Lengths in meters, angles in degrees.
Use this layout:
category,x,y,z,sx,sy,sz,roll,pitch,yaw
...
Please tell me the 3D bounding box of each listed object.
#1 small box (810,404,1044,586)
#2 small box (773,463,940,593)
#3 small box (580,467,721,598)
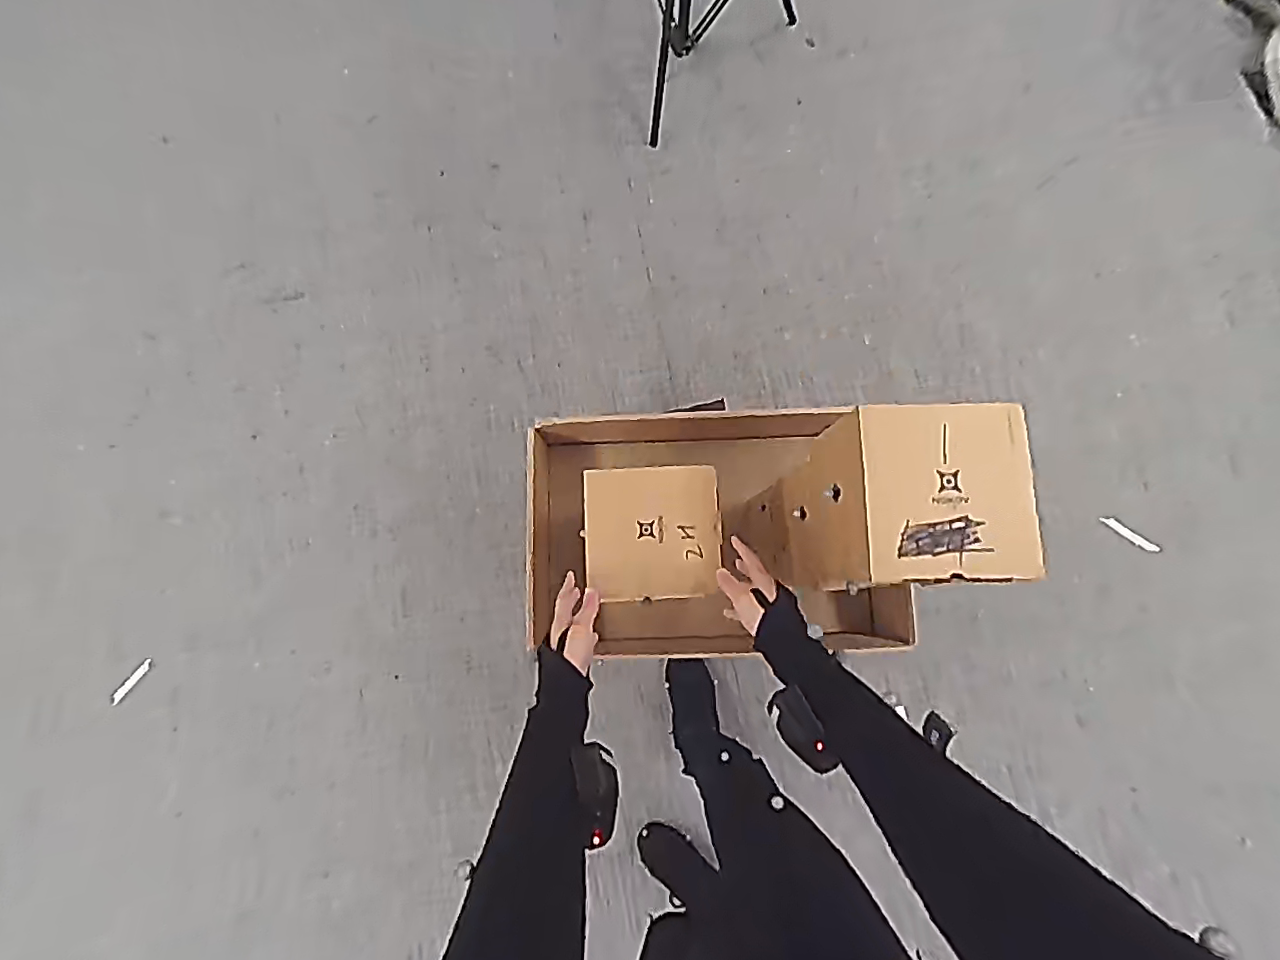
category,x,y,z,sx,sy,sz,roll,pitch,yaw
small box,0.294,0.024,0.593,0.168,0.176,0.179,0,80,1
small box,0.298,0.065,0.754,0.179,0.176,0.168,-4,81,-1
small box,0.013,0.079,0.759,0.179,0.176,0.168,-2,81,0
